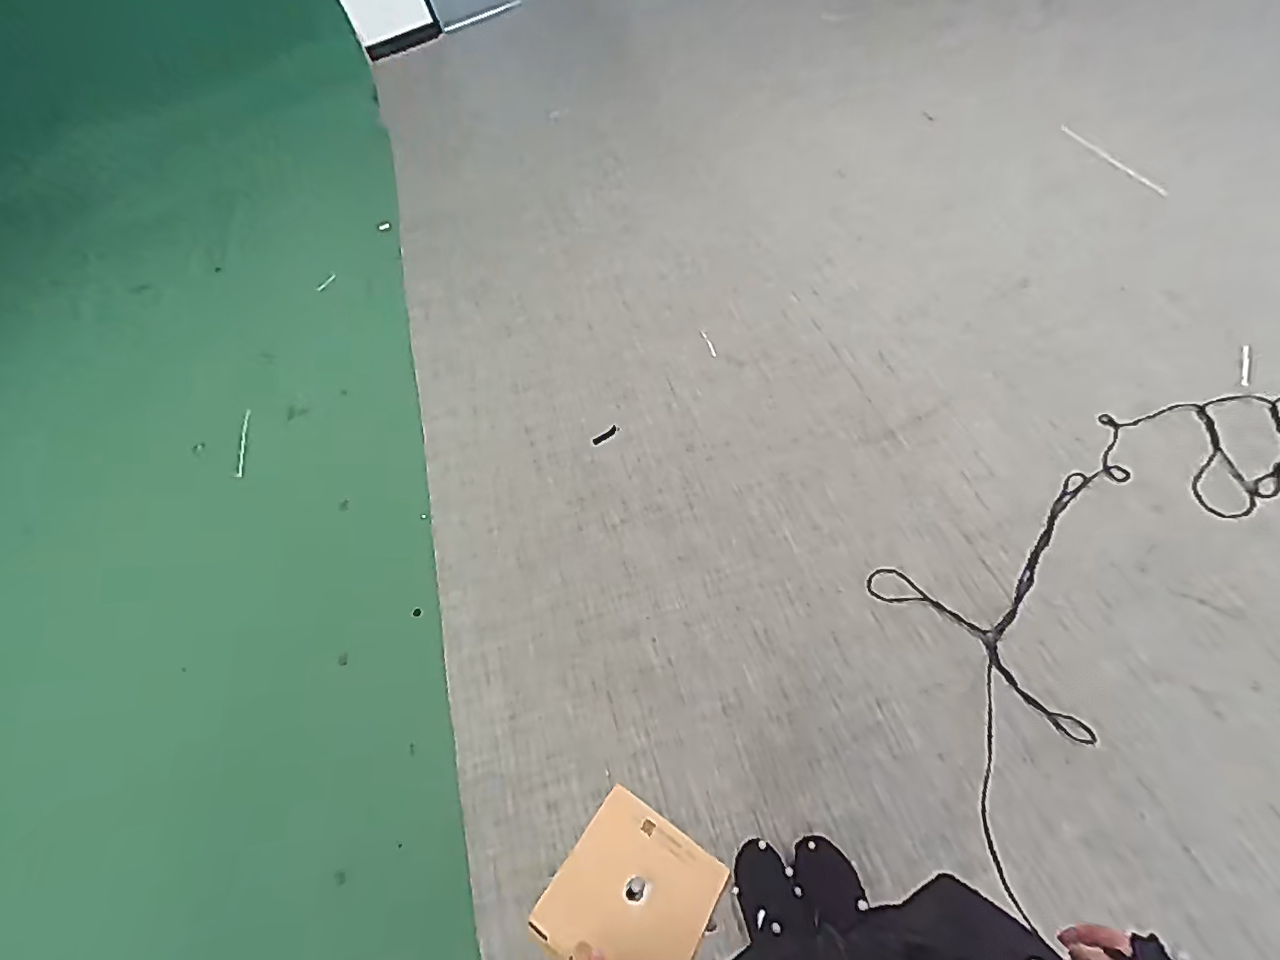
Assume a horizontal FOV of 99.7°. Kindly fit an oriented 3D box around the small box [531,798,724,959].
[{"bbox_3d":[-0.014,0.529,0.654,0.168,0.179,0.176,27,44,20],"label":"small box"}]
